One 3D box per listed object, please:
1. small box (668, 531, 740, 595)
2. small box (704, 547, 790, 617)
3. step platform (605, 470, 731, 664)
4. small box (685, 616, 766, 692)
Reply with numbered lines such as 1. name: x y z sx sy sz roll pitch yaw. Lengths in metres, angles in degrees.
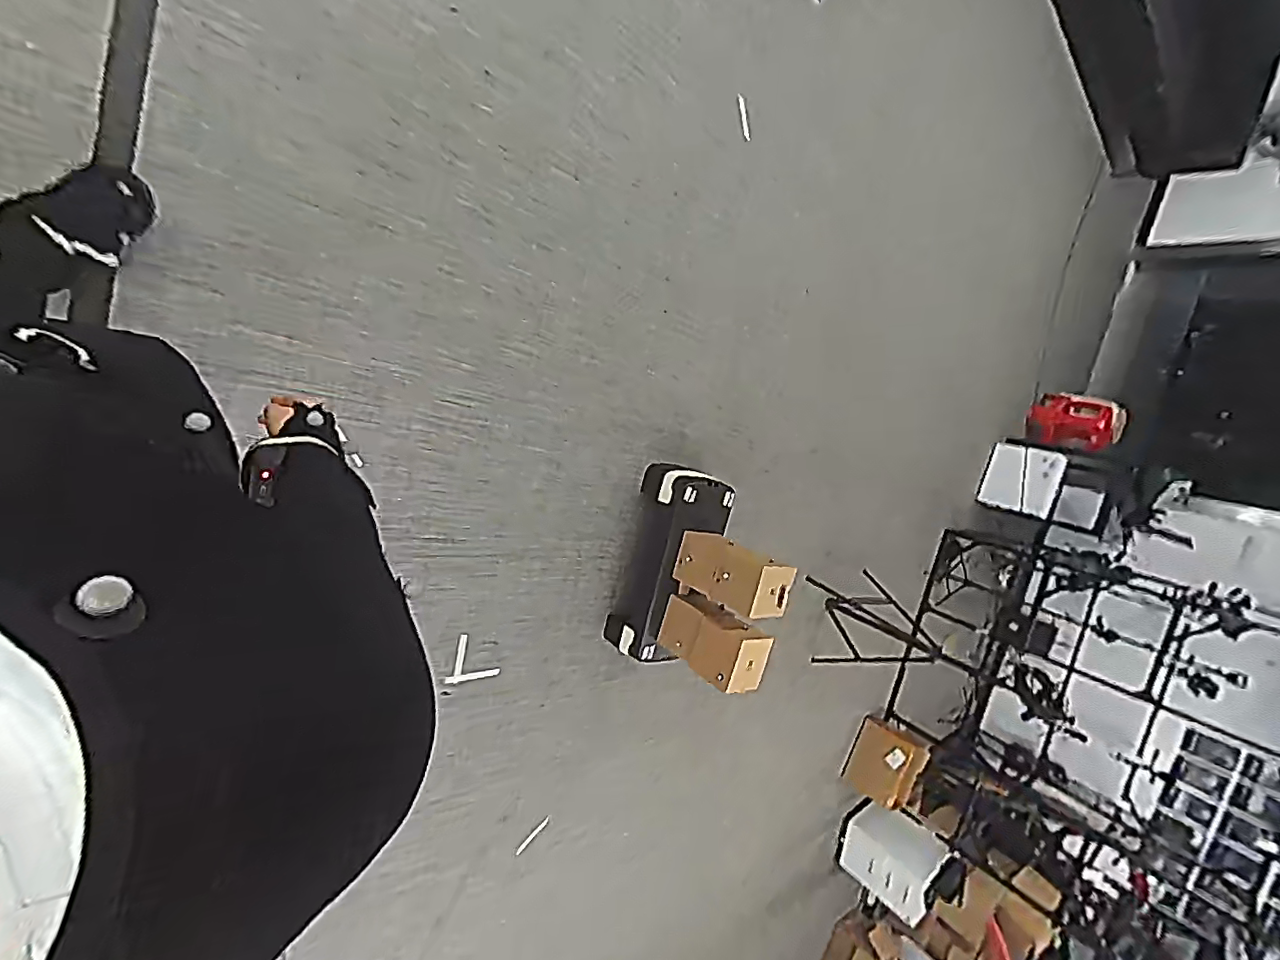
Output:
1. small box: 0.224 0.276 1.806 0.179 0.176 0.168 11 97 -42
2. small box: 0.331 0.314 1.688 0.179 0.176 0.168 10 97 -42
3. step platform: 0.106 0.316 1.954 0.286 0.204 0.684 8 98 -43
4. small box: 0.266 0.542 1.709 0.168 0.176 0.179 12 96 -42
